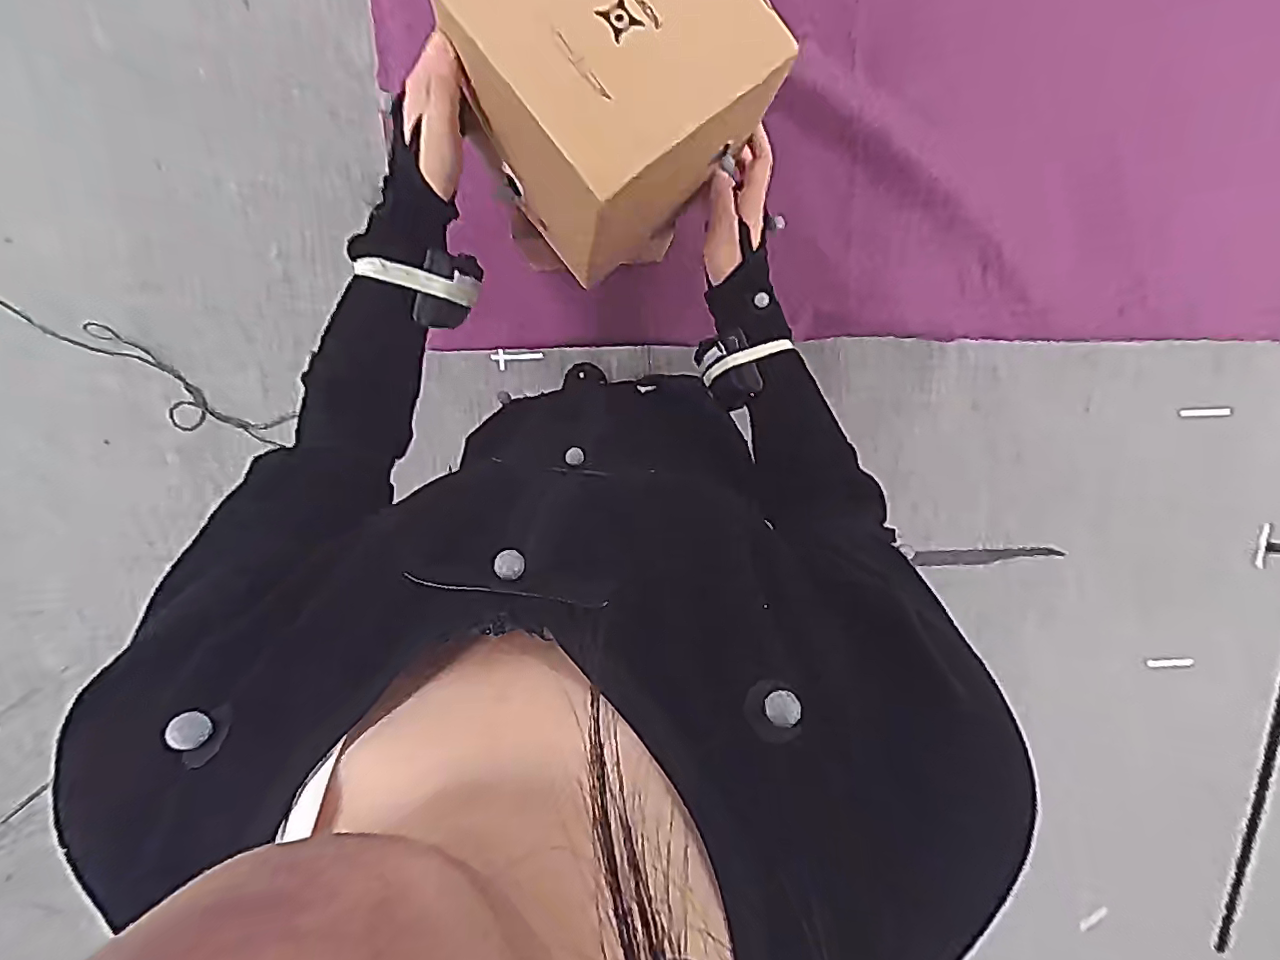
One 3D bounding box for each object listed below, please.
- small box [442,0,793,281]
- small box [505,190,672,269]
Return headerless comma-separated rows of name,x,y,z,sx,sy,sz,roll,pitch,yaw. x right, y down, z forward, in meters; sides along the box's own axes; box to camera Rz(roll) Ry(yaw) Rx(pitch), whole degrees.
small box,-0.023,-0.293,0.422,0.179,0.176,0.168,-41,96,-6
small box,-0.059,-0.347,0.602,0.168,0.176,0.179,-5,102,-2
